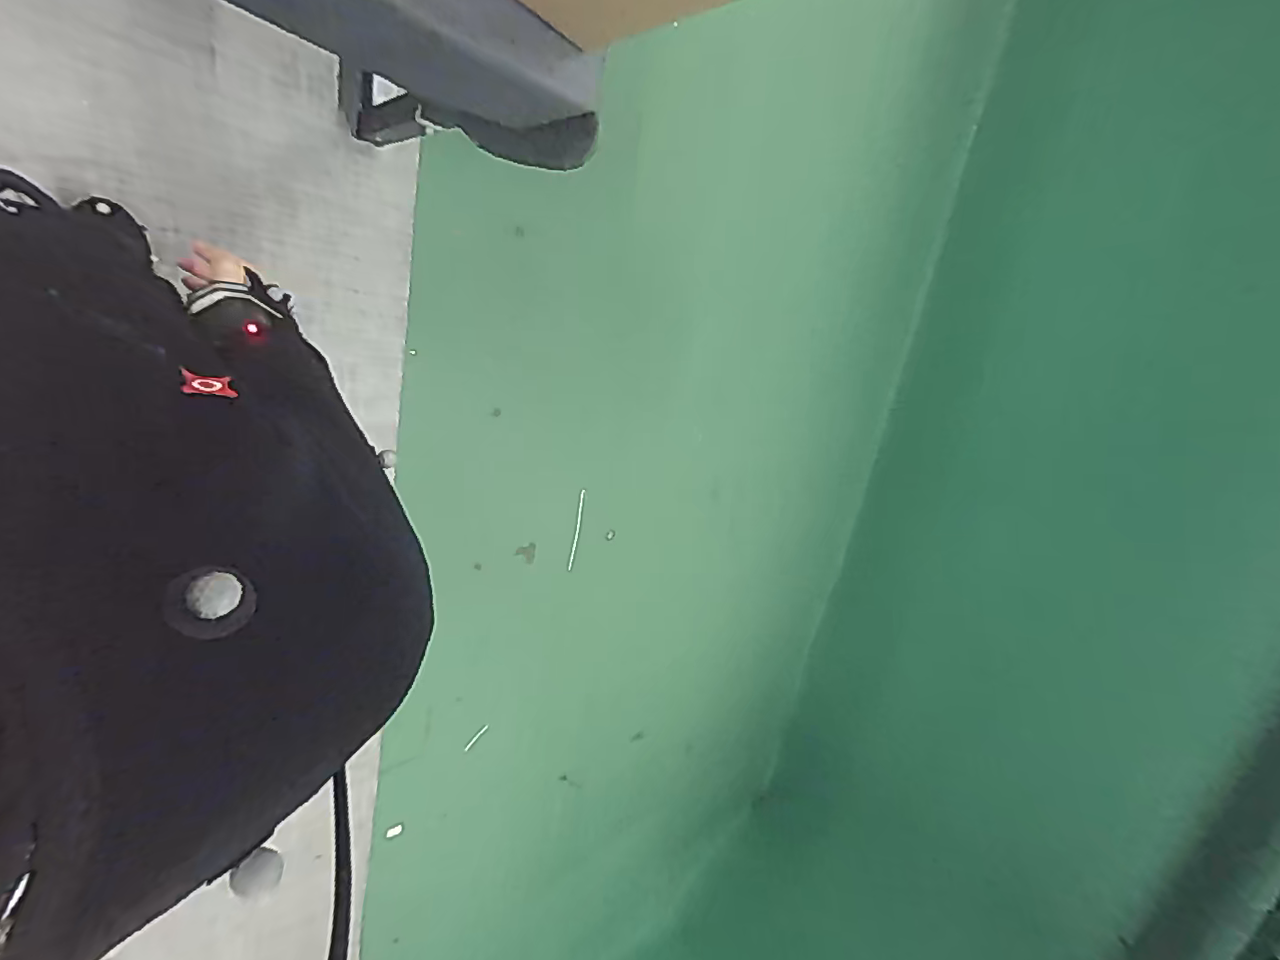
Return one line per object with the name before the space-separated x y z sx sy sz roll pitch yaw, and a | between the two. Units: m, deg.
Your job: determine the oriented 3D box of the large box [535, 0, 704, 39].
large box | -0.062 -0.644 0.405 0.408 0.320 0.320 1 108 -48
